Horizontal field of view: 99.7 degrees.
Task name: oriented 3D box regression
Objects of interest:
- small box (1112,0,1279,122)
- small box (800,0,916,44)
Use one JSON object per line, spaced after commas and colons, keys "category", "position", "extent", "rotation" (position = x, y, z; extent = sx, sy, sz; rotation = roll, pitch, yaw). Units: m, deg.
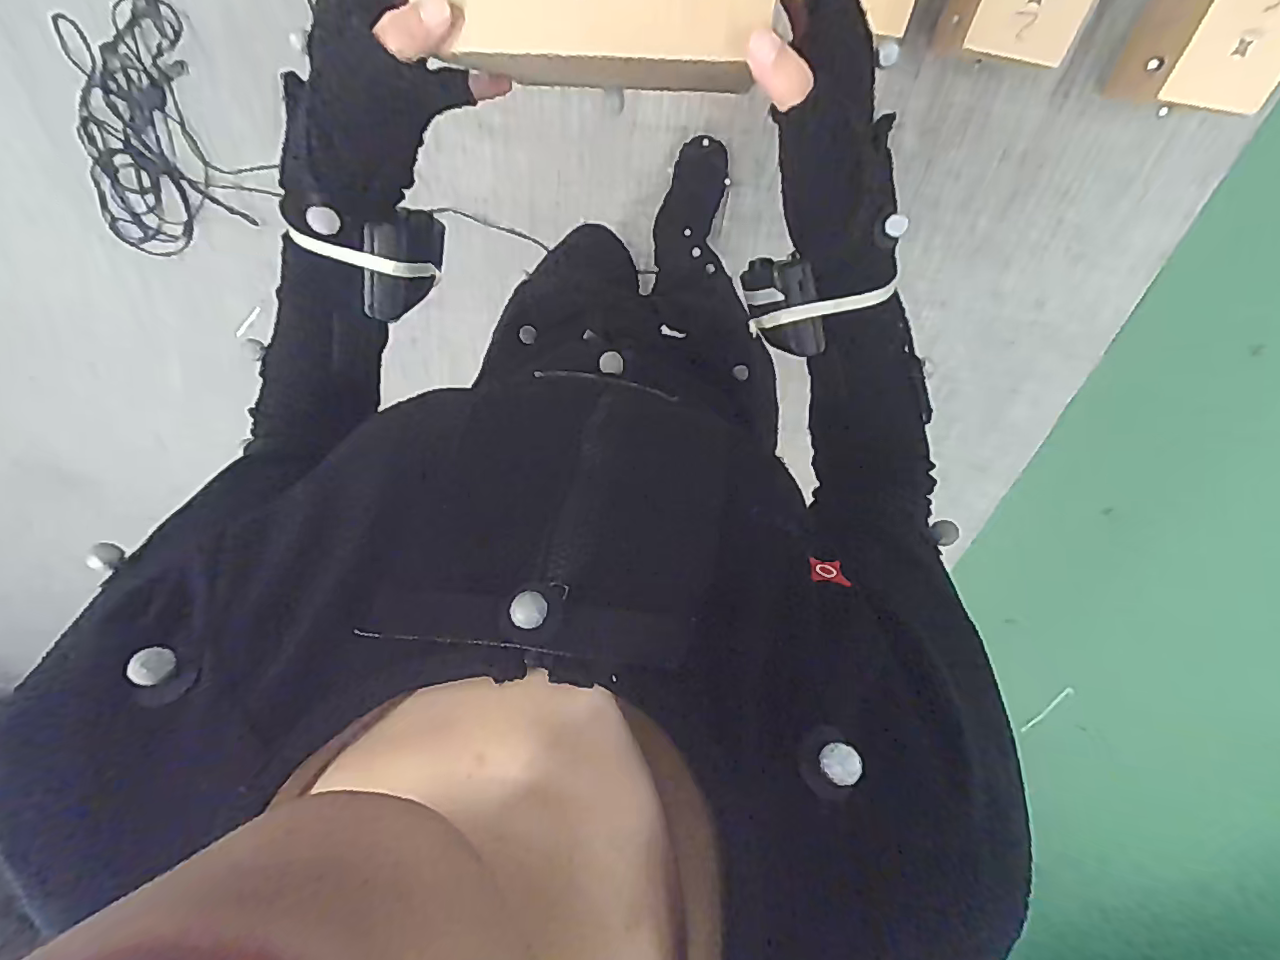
{"category": "small box", "position": [0.951, -0.720, 0.901], "extent": [0.168, 0.176, 0.179], "rotation": [11, 127, 0]}
{"category": "small box", "position": [0.374, -0.849, 0.897], "extent": [0.168, 0.176, 0.179], "rotation": [11, 127, 1]}
